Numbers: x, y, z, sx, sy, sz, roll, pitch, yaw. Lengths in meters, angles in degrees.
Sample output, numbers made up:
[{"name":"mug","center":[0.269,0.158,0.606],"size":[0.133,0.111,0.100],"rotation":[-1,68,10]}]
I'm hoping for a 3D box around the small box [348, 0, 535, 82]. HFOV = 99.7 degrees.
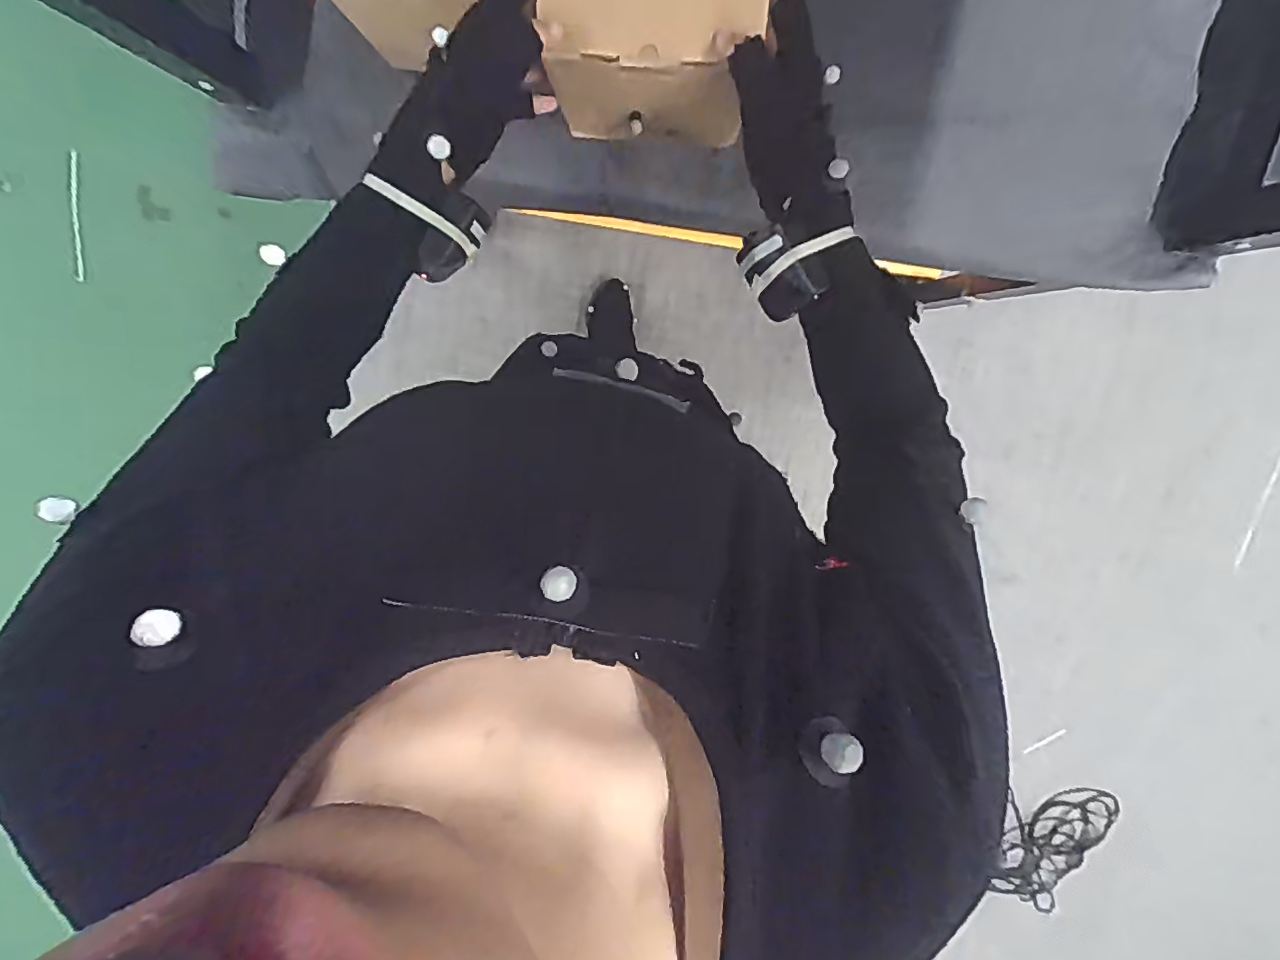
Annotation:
[{"name":"small box","center":[-0.201,-0.538,0.532],"size":[0.168,0.176,0.179],"rotation":[7,103,1]}]
